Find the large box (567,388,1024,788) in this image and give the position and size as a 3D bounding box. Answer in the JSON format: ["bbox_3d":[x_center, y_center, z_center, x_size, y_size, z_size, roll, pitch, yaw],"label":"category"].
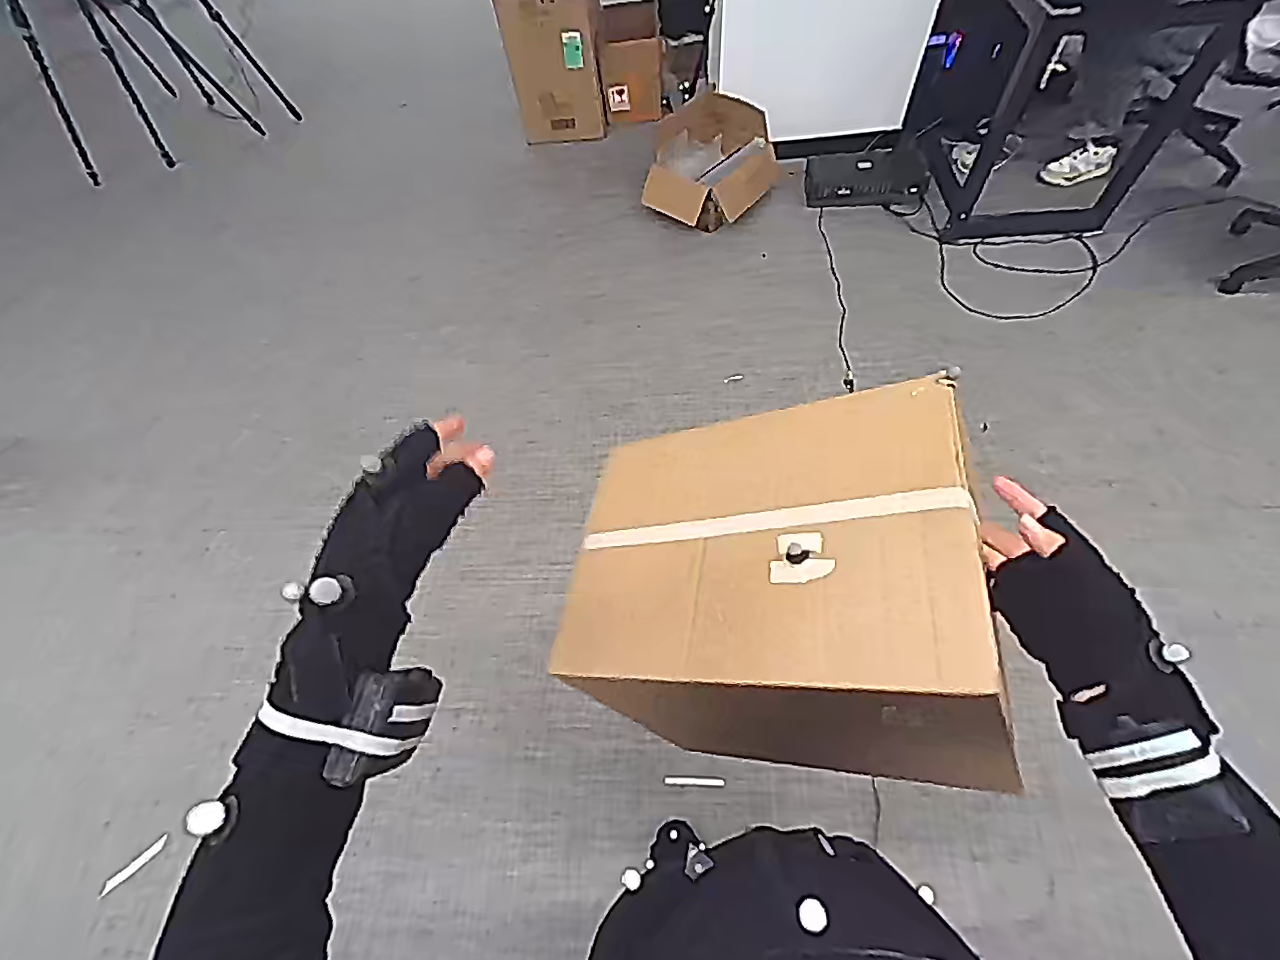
[{"bbox_3d":[0.192,0.147,0.663,0.408,0.320,0.320,-11,47,34],"label":"large box"}]
